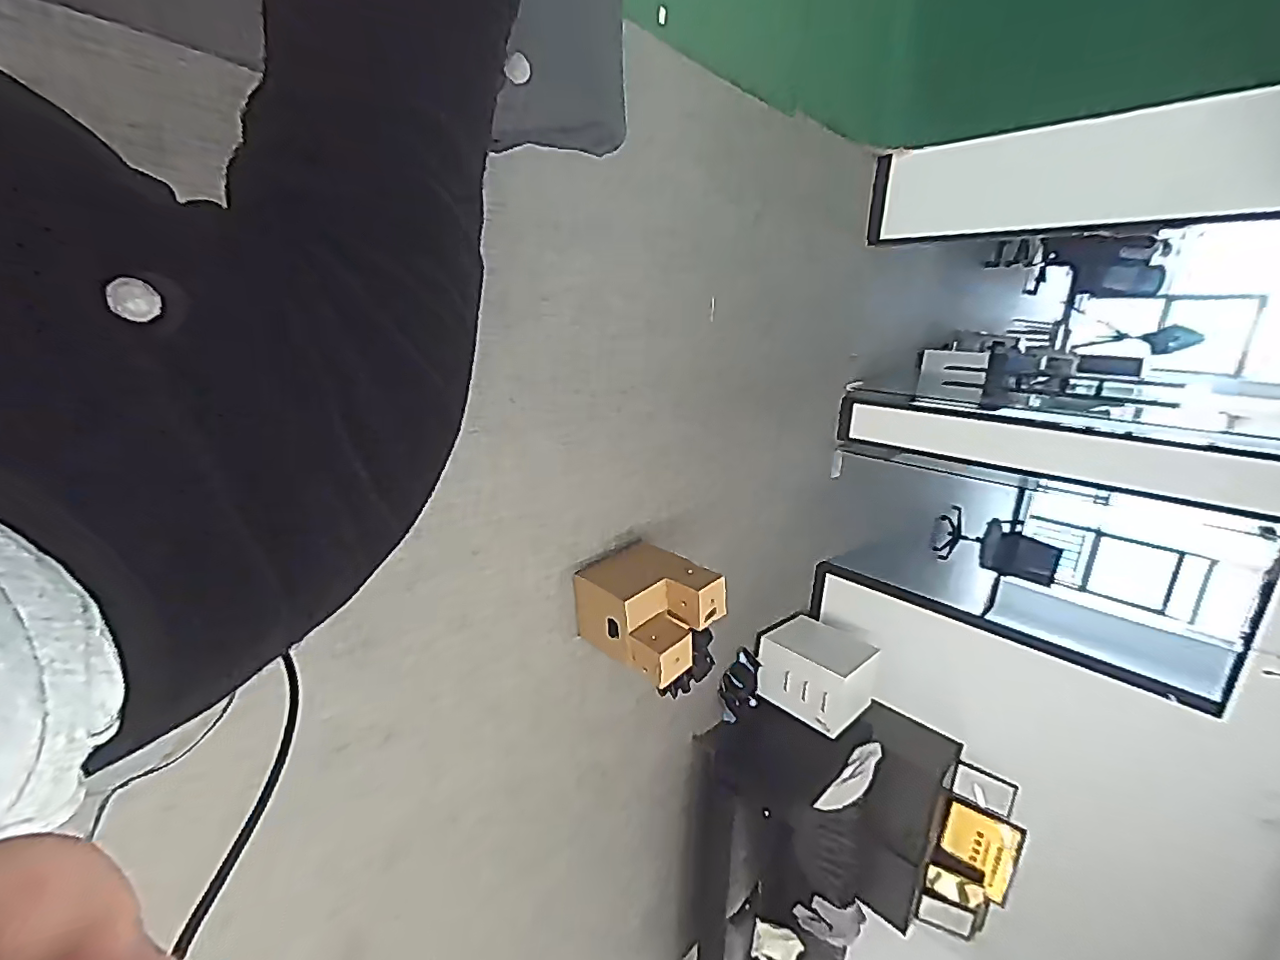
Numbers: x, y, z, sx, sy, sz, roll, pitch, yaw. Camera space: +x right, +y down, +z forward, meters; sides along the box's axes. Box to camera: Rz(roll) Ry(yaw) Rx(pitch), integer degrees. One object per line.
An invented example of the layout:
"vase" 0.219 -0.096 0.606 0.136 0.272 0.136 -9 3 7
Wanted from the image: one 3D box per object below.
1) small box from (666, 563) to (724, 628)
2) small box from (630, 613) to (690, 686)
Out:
"small box" 0.217 0.456 2.157 0.168 0.176 0.179 -20 114 -41
"small box" 0.073 0.642 2.070 0.179 0.176 0.168 -26 124 -40
